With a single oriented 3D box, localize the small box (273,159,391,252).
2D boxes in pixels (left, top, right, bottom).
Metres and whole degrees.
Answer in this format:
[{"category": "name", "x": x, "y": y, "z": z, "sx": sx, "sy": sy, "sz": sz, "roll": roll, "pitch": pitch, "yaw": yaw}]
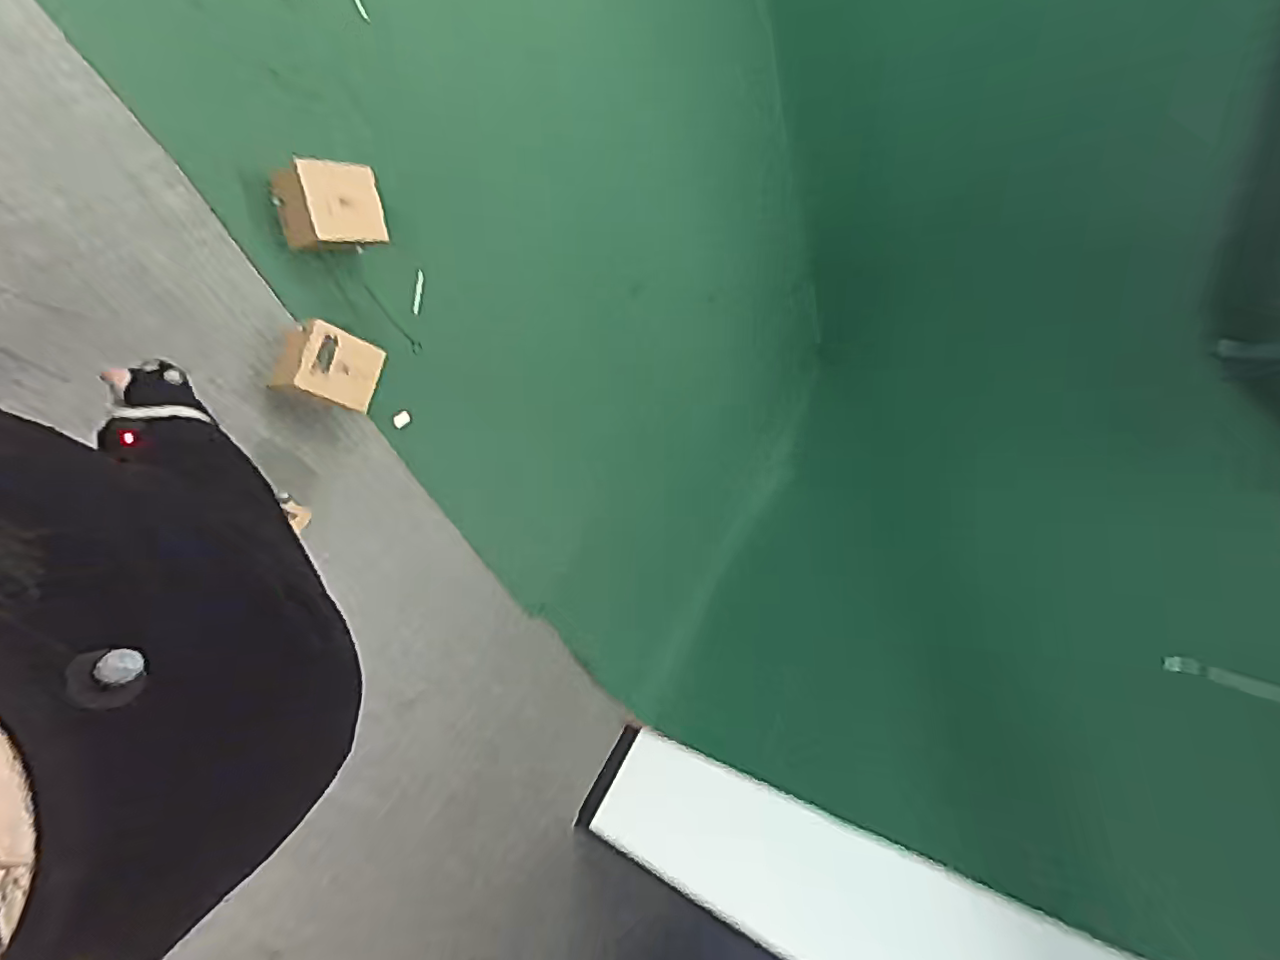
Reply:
[{"category": "small box", "x": -0.747, "y": -0.658, "z": 1.314, "sx": 0.179, "sy": 0.176, "sz": 0.168, "roll": -27, "pitch": 116, "yaw": -47}]
